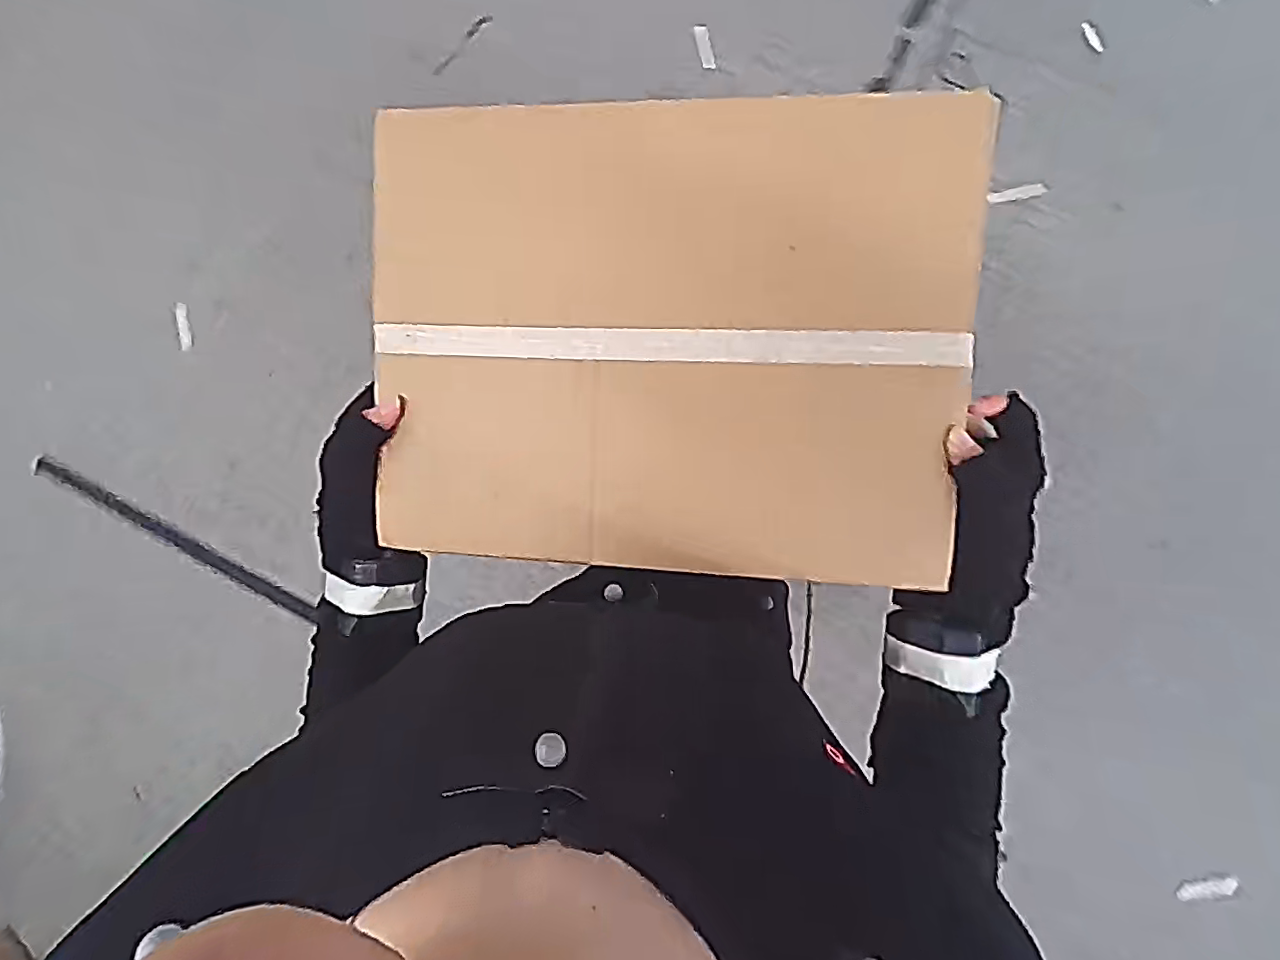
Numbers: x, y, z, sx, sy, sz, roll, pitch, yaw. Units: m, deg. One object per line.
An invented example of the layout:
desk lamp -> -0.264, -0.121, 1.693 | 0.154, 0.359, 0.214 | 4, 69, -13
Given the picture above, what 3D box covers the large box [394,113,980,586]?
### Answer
large box -> 0.035, -0.104, 0.527 | 0.408, 0.320, 0.320 | 4, 95, 8
